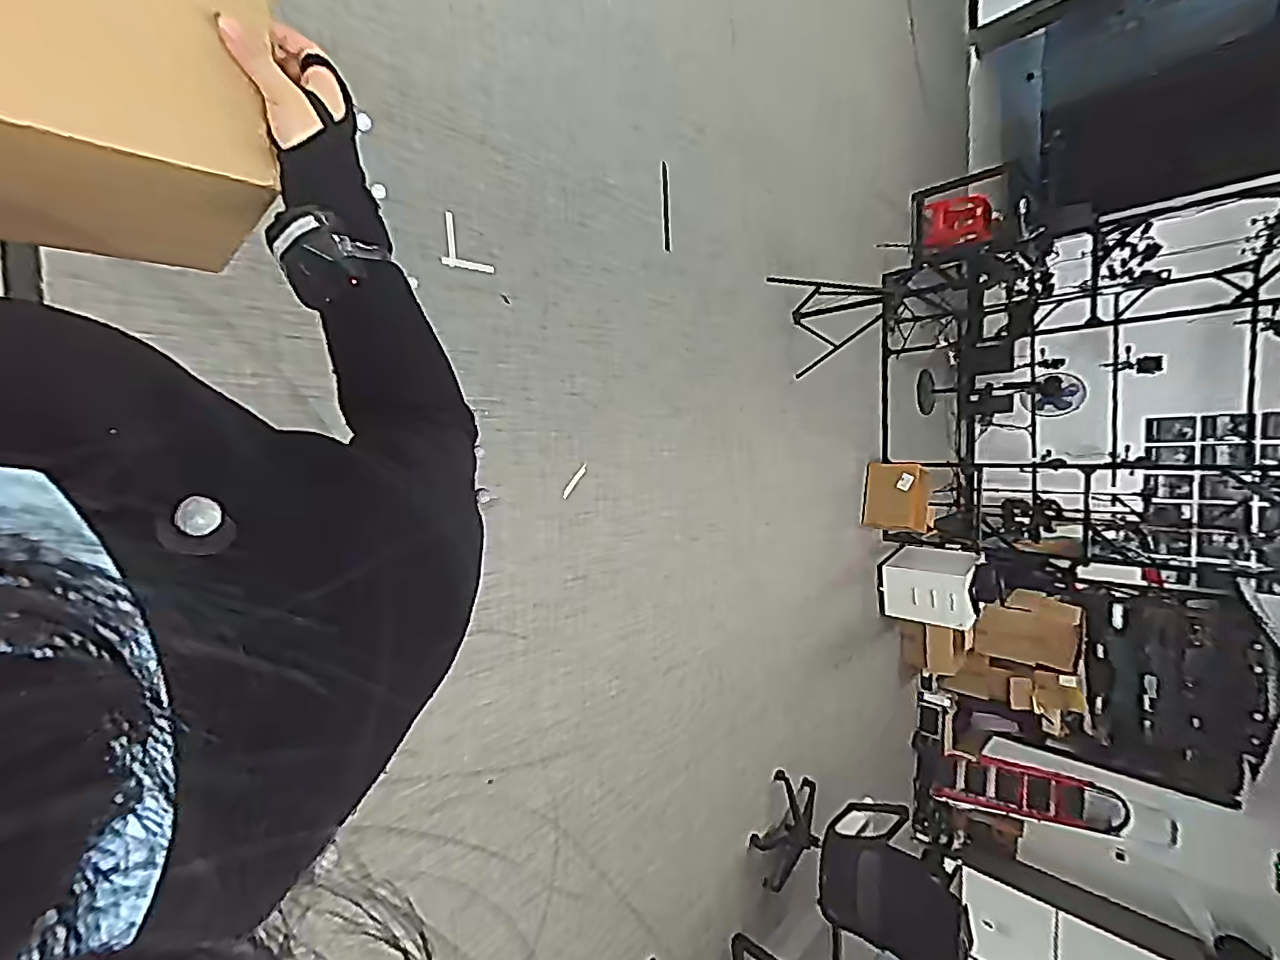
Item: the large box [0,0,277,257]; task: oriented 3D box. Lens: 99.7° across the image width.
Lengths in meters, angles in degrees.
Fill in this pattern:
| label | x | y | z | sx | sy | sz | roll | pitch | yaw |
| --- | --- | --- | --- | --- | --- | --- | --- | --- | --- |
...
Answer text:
| label | x | y | z | sx | sy | sz | roll | pitch | yaw |
| --- | --- | --- | --- | --- | --- | --- | --- | --- | --- |
| large box | -0.540 | -0.383 | 0.390 | 0.408 | 0.320 | 0.320 | -6 | 97 | -44 |
